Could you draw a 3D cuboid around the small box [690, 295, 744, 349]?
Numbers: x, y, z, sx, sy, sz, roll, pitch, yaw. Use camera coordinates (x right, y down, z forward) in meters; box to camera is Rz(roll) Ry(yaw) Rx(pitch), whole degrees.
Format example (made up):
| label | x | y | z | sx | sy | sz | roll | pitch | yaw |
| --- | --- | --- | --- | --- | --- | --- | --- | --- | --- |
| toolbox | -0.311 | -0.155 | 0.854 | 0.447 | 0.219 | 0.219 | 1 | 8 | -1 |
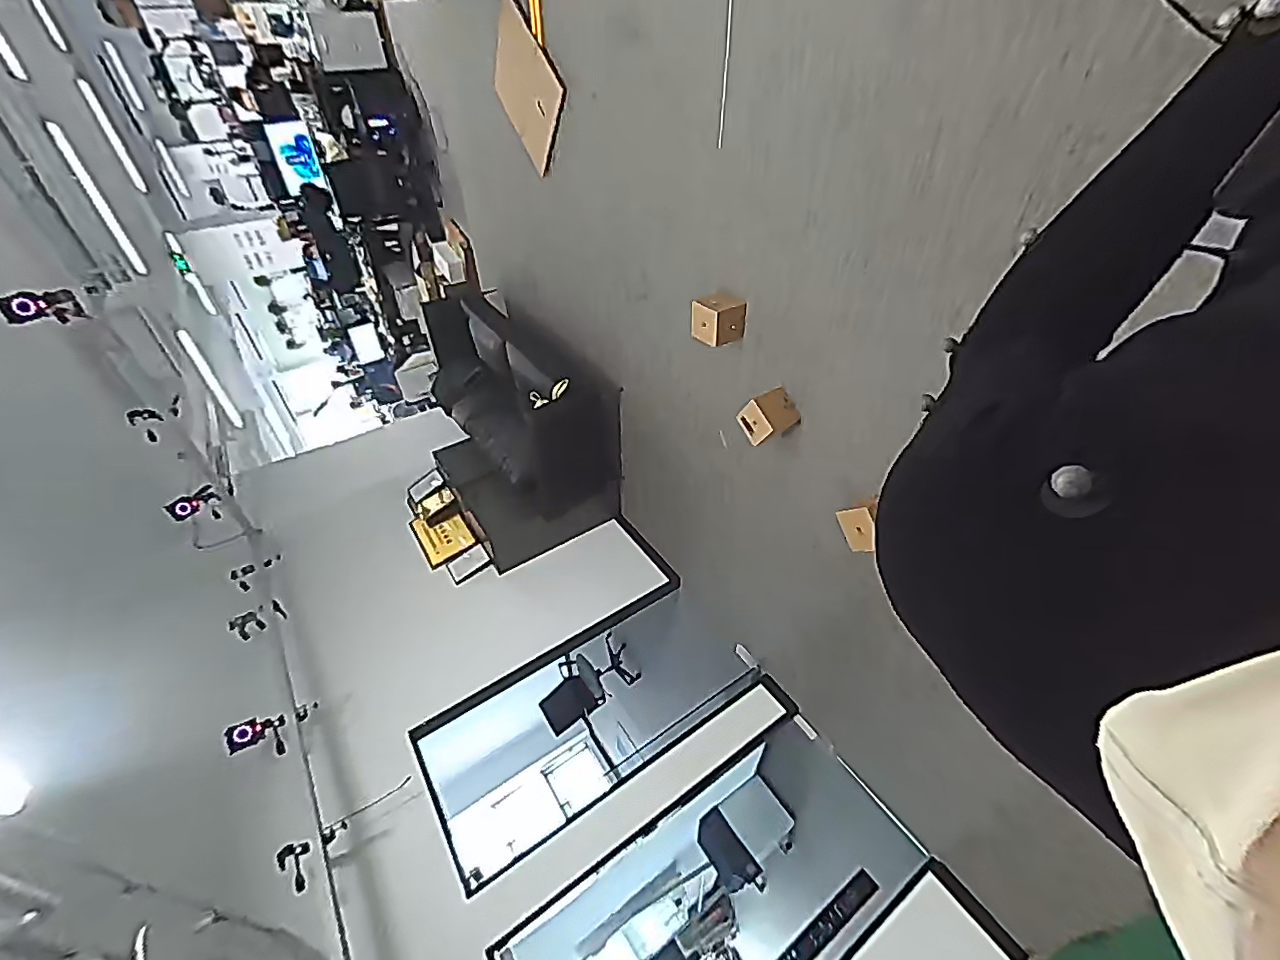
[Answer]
| label | x | y | z | sx | sy | sz | roll | pitch | yaw |
| --- | --- | --- | --- | --- | --- | --- | --- | --- | --- |
| small box | 0.342 | -0.711 | 2.412 | 0.179 | 0.176 | 0.168 | 42 | 146 | 40 |
